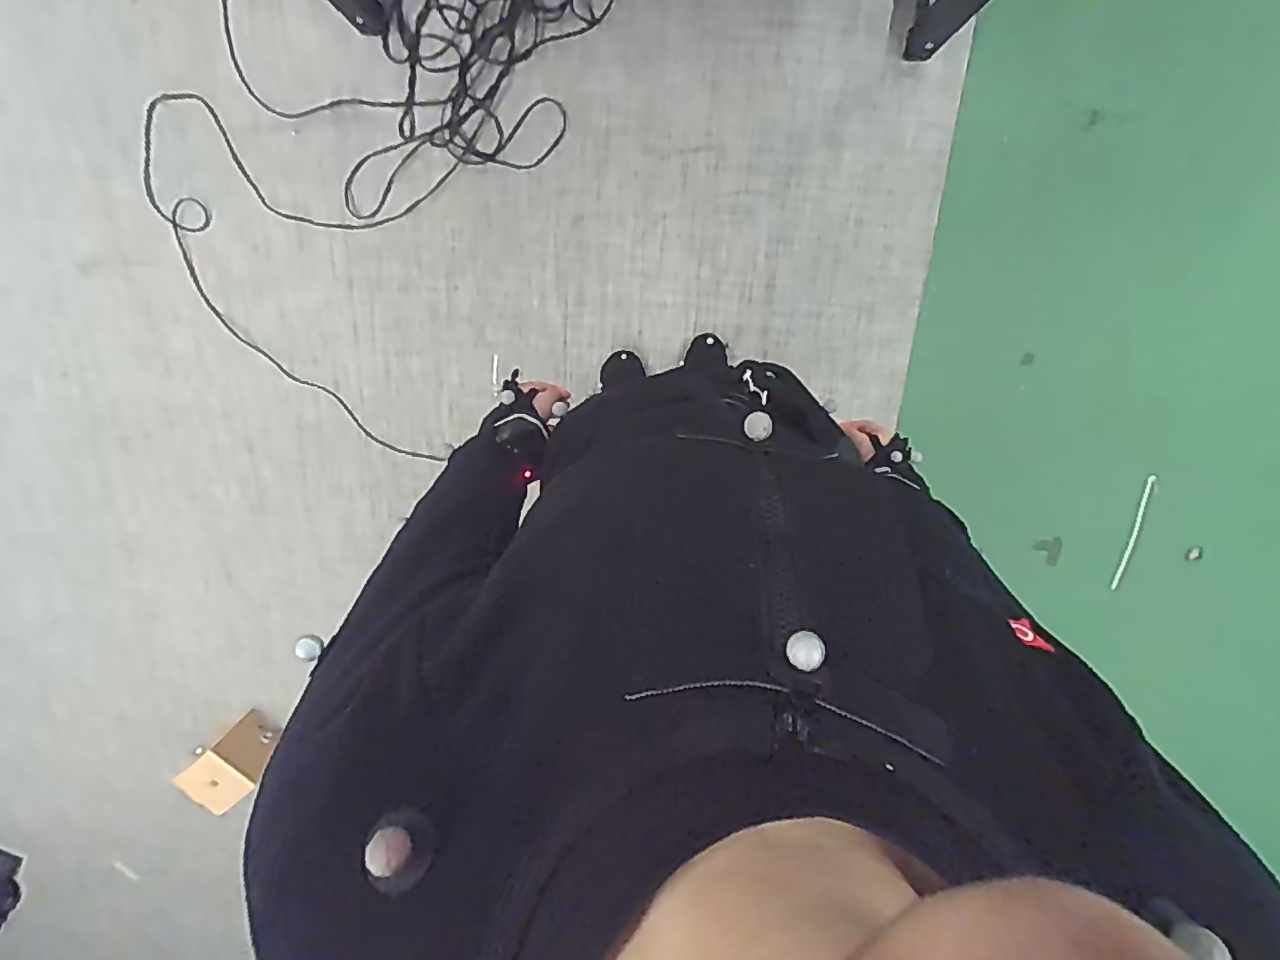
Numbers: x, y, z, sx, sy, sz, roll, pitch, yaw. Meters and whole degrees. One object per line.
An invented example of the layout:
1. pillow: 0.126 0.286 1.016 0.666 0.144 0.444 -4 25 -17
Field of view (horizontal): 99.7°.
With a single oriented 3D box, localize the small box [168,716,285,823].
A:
1. small box: -1.180 0.828 1.558 0.179 0.176 0.168 -39 103 11
